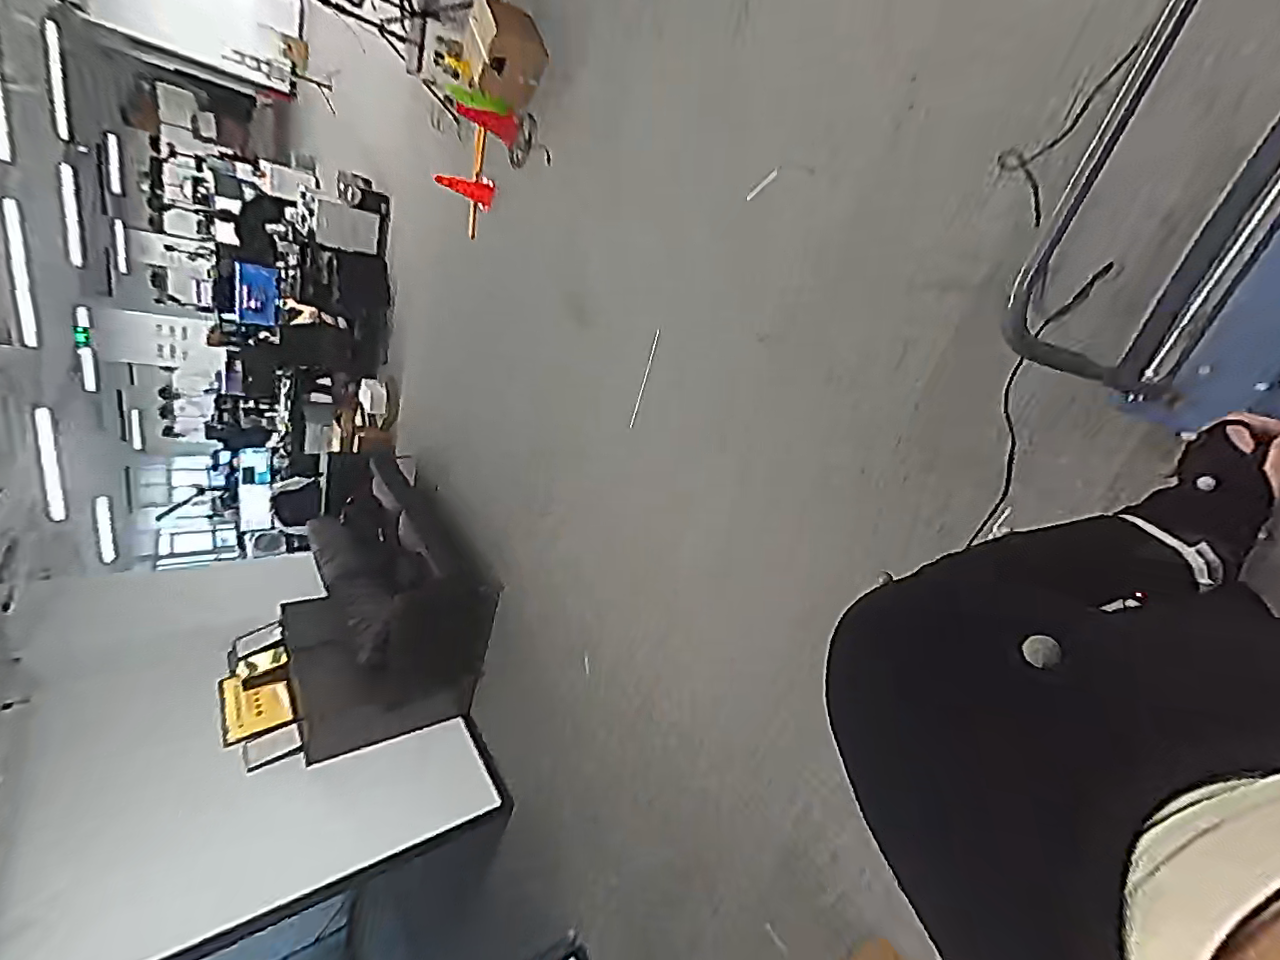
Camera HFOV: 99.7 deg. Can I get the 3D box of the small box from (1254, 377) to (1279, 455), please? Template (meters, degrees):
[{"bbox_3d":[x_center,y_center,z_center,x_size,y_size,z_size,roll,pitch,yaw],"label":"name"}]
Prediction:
[{"bbox_3d":[0.717,-0.092,0.495,0.168,0.176,0.179,24,105,44],"label":"small box"}]
